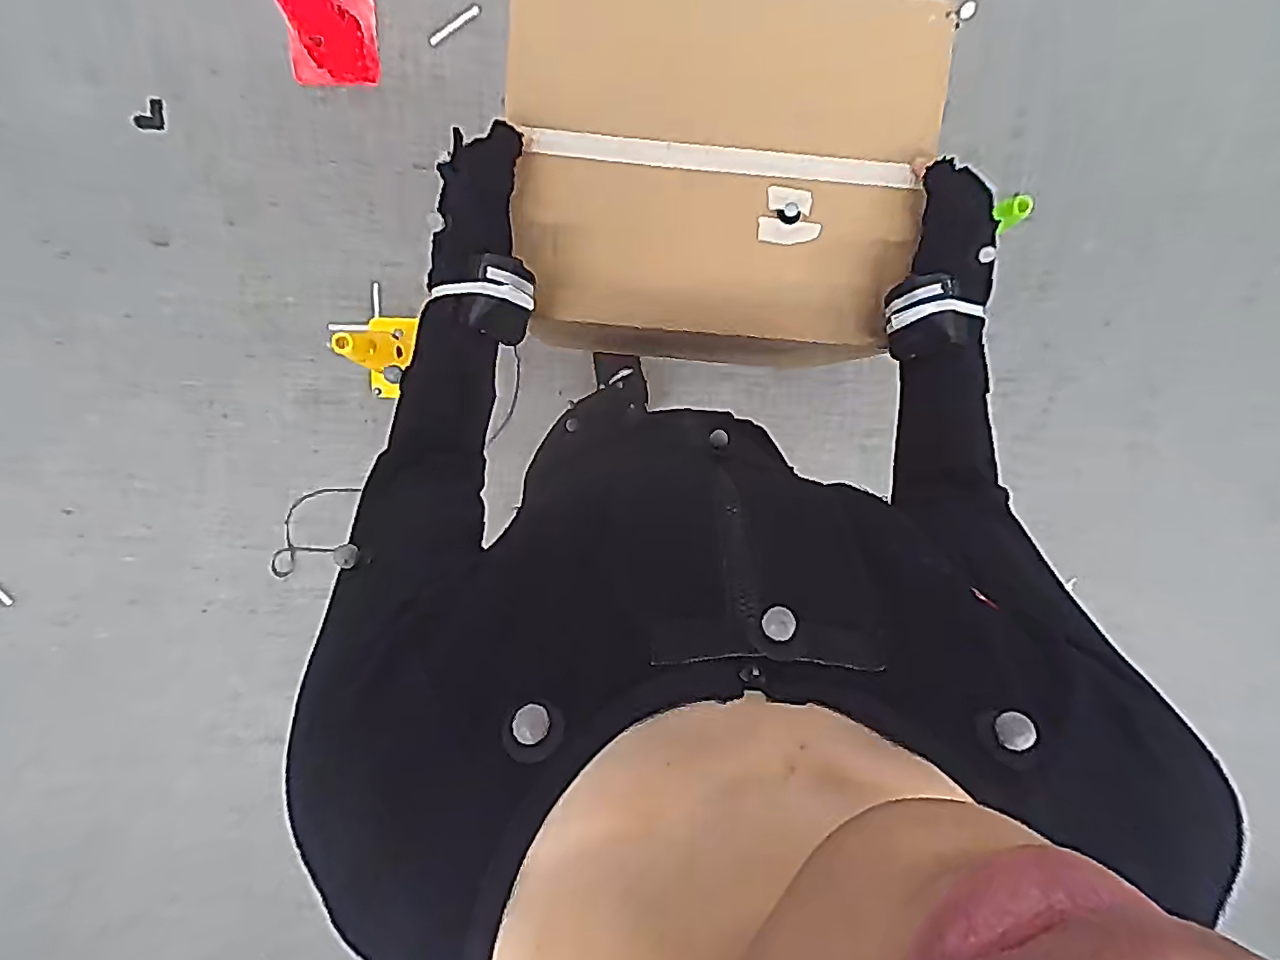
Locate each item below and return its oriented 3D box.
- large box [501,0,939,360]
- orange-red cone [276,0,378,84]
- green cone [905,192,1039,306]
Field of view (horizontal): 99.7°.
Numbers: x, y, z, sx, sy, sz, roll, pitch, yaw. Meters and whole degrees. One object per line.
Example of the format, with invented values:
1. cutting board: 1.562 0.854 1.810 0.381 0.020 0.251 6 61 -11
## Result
1. large box: 0.064 -0.326 0.656 0.408 0.320 0.320 4 98 -3
2. orange-red cone: -0.717 -1.014 1.106 0.198 0.360 0.199 0 99 -2
3. green cone: 0.747 -0.562 1.235 0.202 0.368 0.200 -35 99 1
